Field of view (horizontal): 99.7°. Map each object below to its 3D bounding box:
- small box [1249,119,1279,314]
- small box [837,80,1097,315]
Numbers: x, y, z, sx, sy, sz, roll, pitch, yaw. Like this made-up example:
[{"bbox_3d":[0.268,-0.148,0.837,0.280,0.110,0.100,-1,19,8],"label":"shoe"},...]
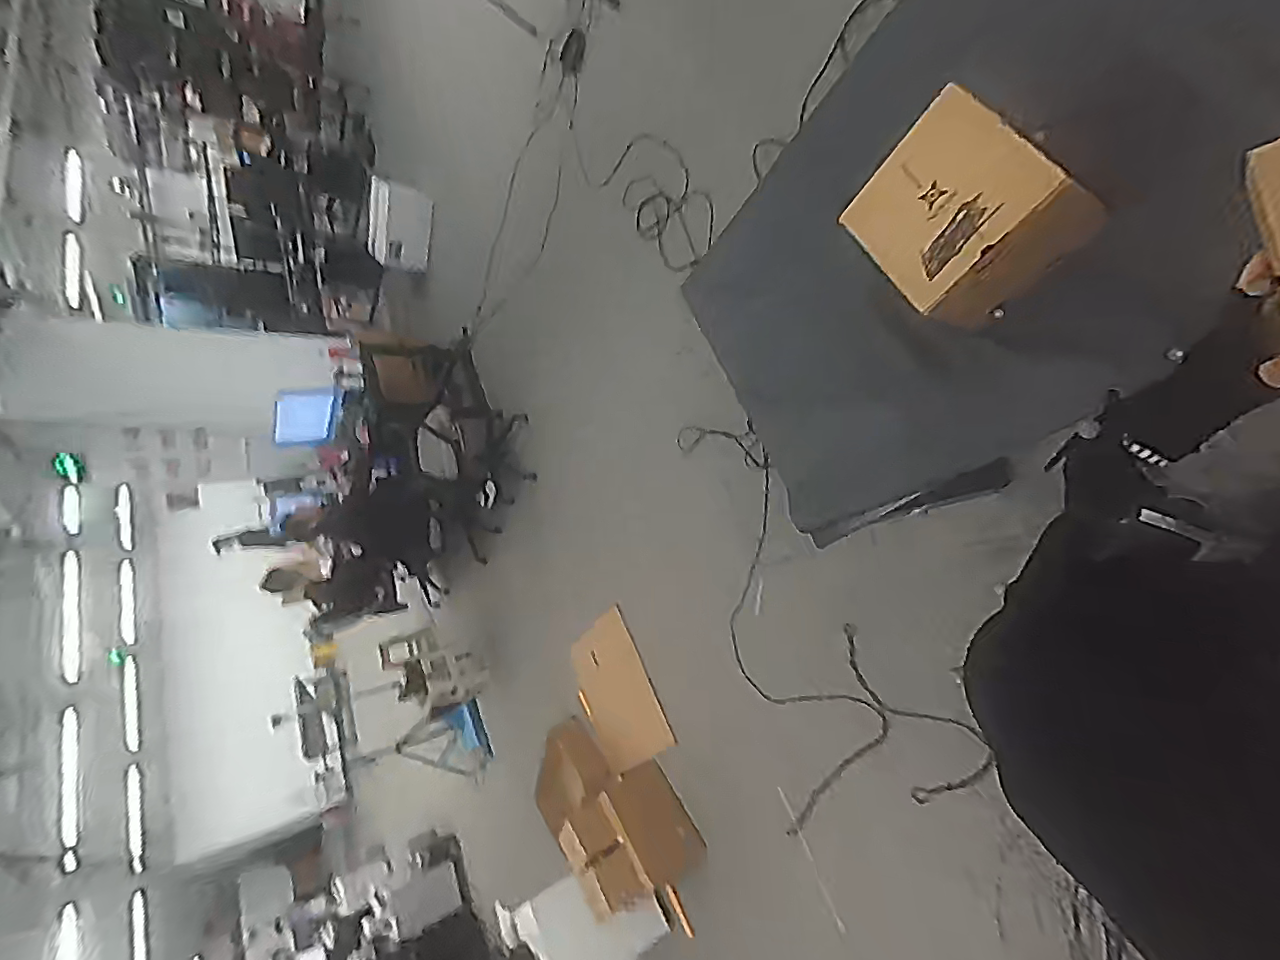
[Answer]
[{"bbox_3d":[0.484,-0.149,0.305,0.168,0.176,0.179,-16,92,50],"label":"small box"},{"bbox_3d":[0.381,-0.314,0.637,0.168,0.176,0.179,-50,56,42],"label":"small box"}]
